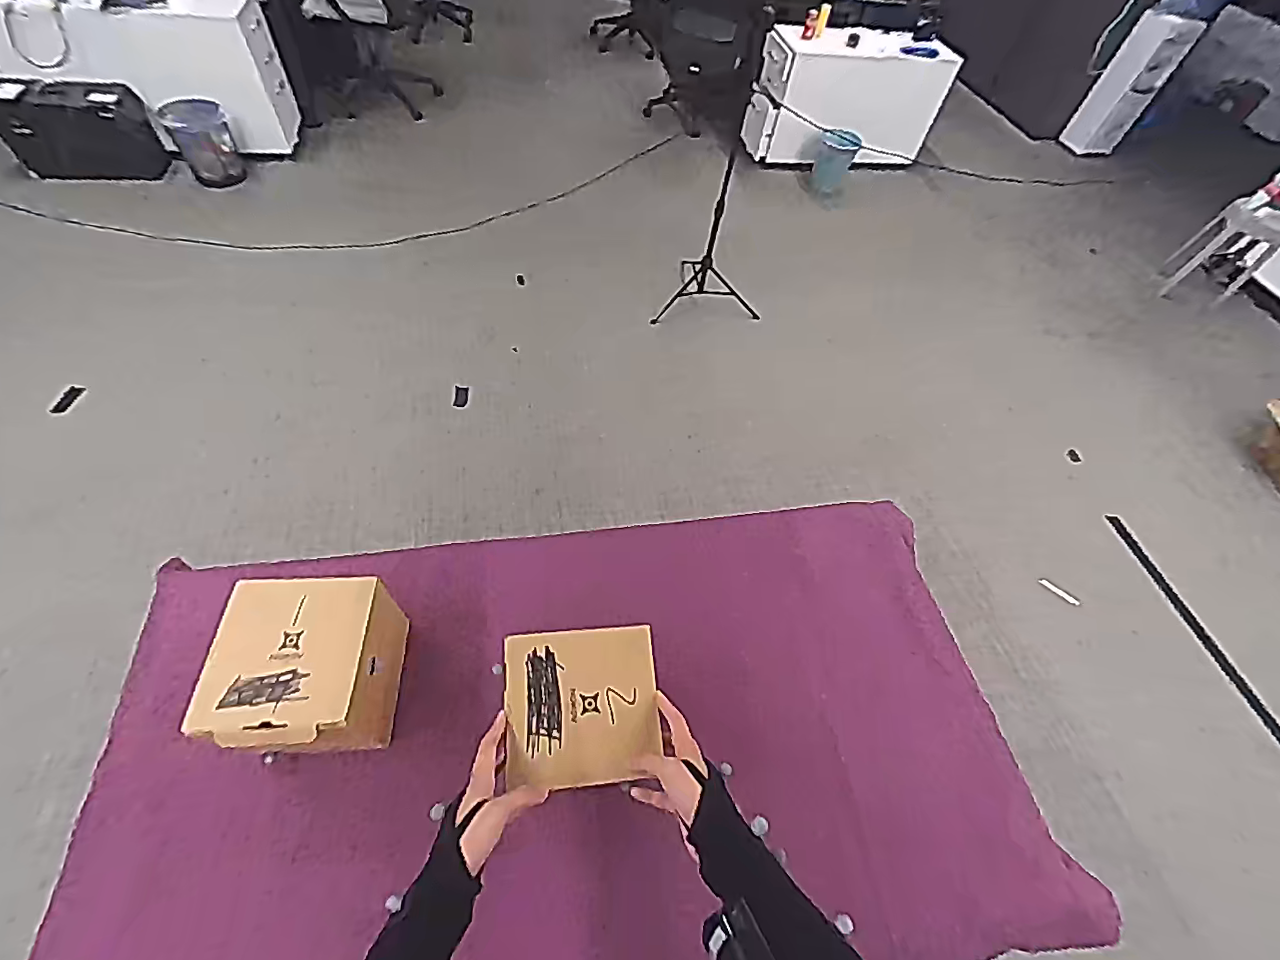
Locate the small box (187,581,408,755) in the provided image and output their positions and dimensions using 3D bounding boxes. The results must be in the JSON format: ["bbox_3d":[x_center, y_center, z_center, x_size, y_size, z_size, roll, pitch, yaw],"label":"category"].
[{"bbox_3d":[-0.407,0.243,0.685,0.168,0.176,0.179,0,55,-8],"label":"small box"}]
